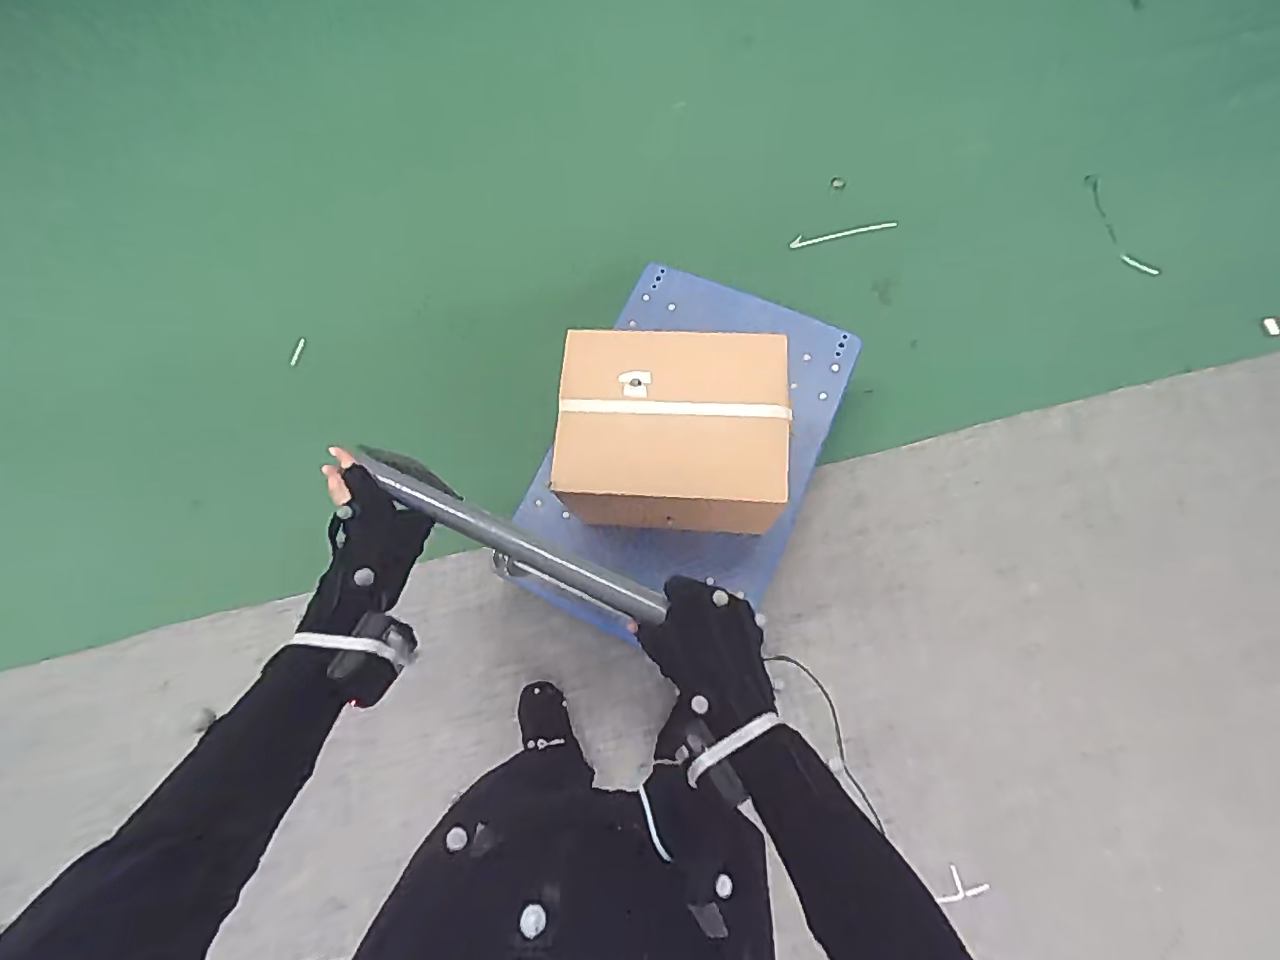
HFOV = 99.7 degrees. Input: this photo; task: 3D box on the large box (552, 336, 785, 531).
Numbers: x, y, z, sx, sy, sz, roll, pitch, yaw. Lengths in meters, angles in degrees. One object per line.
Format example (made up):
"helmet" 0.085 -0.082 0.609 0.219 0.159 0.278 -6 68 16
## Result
"large box" 0.069 -0.077 1.095 0.408 0.320 0.320 3 75 7
